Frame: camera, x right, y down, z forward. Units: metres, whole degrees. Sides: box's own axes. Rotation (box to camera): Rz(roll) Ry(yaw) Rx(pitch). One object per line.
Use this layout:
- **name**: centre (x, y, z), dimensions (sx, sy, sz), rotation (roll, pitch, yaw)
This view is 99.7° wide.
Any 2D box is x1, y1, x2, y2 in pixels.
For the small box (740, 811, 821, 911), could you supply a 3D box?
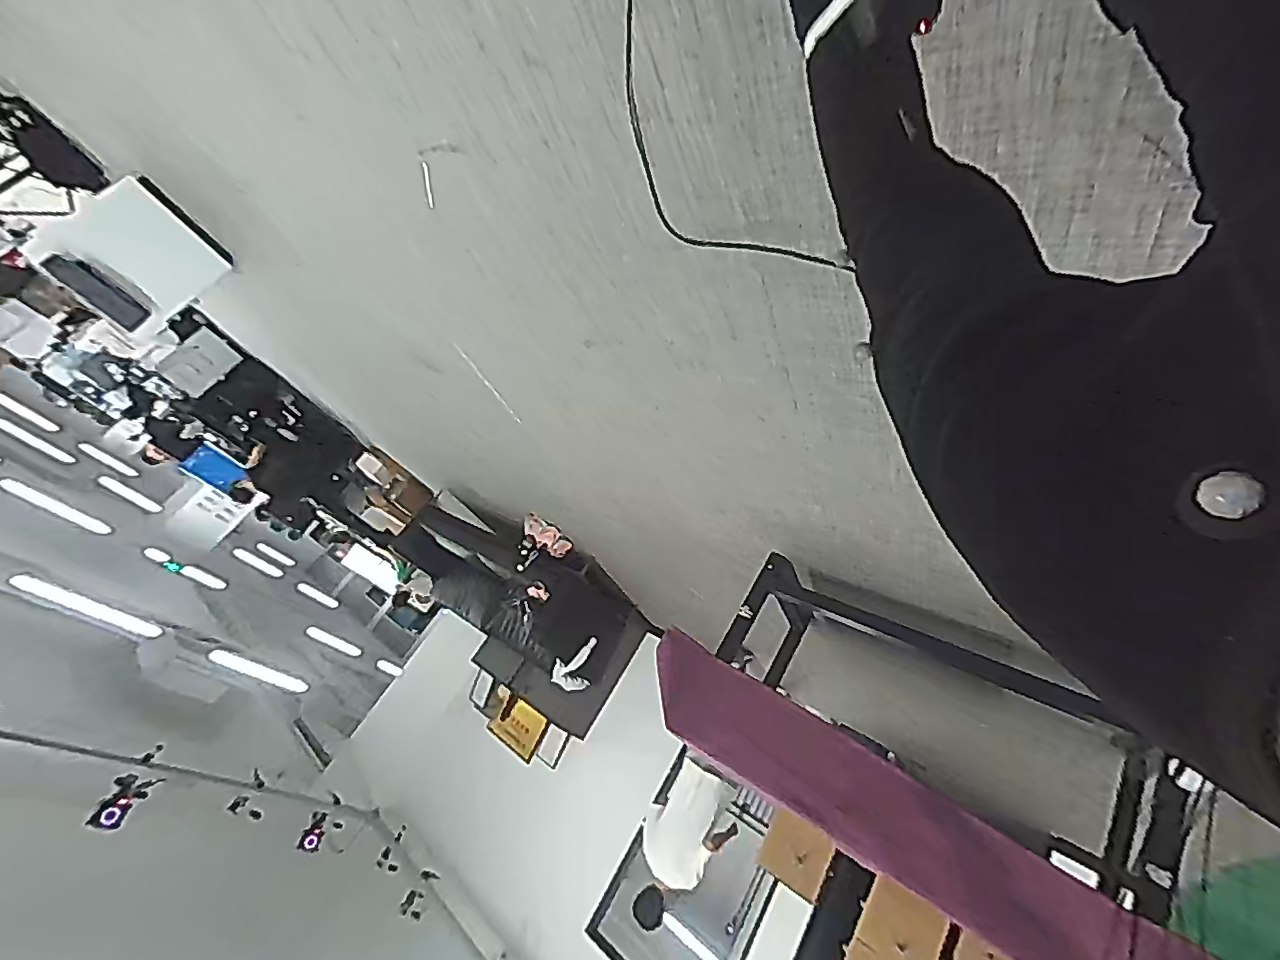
- **small box**: centre (0.410, 1.087, 1.553), dimensions (0.179, 0.176, 0.168), rotation (21, 154, 30)
